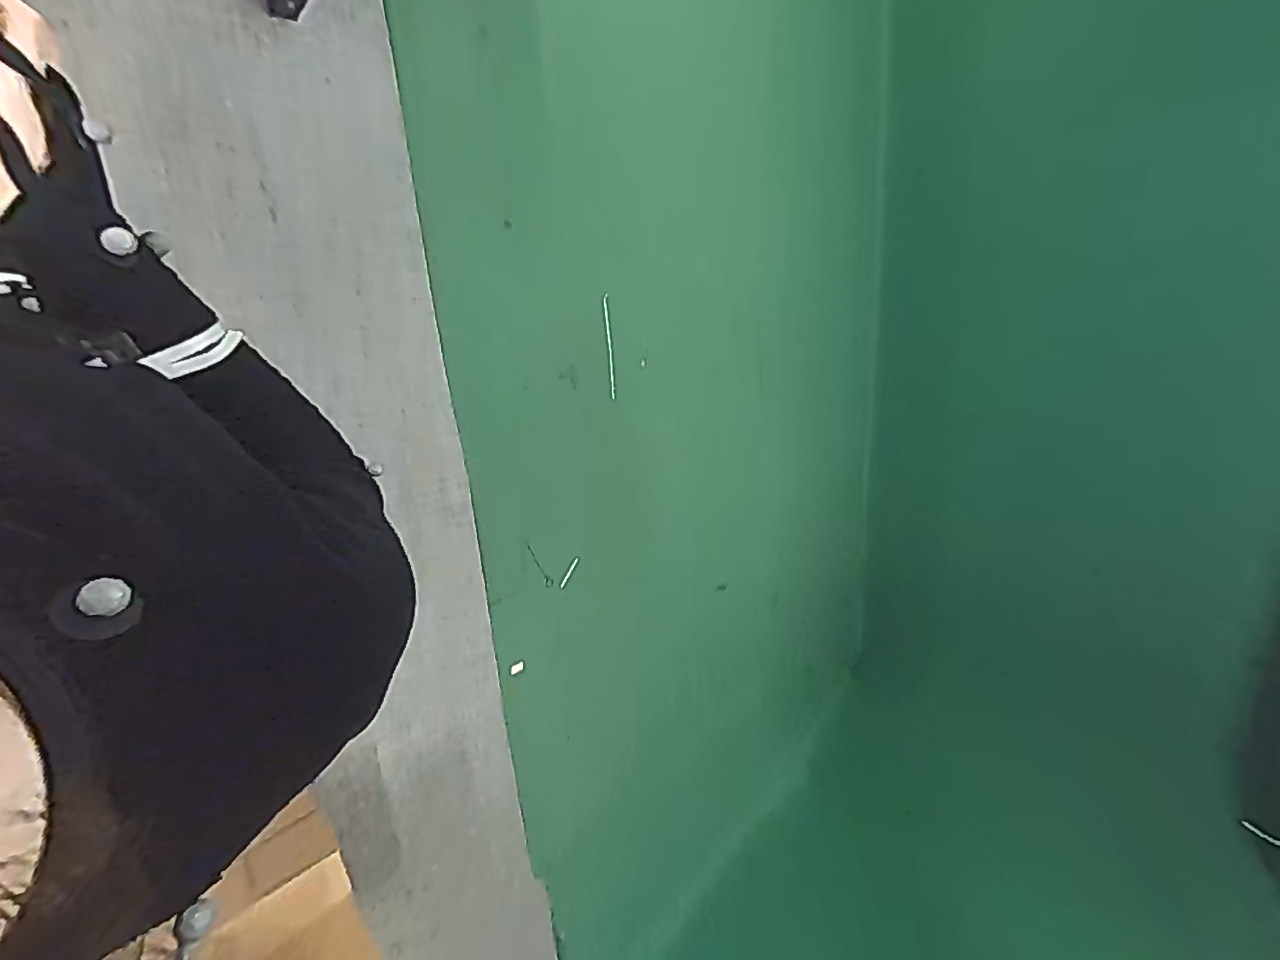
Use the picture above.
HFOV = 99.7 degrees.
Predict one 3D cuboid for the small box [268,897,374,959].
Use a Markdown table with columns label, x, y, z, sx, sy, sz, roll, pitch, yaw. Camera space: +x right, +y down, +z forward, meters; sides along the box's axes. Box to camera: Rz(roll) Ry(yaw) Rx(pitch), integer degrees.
| label | x | y | z | sx | sy | sz | roll | pitch | yaw |
| --- | --- | --- | --- | --- | --- | --- | --- | --- | --- |
| small box | -0.675 | 1.065 | 1.156 | 0.179 | 0.176 | 0.168 | -23 | 117 | -43 |

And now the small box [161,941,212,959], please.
| label | x | y | z | sx | sy | sz | roll | pitch | yaw |
| --- | --- | --- | --- | --- | --- | --- | --- | --- | --- |
| small box | -0.841 | 0.987 | 0.954 | 0.168 | 0.176 | 0.179 | -15 | 110 | -44 |
